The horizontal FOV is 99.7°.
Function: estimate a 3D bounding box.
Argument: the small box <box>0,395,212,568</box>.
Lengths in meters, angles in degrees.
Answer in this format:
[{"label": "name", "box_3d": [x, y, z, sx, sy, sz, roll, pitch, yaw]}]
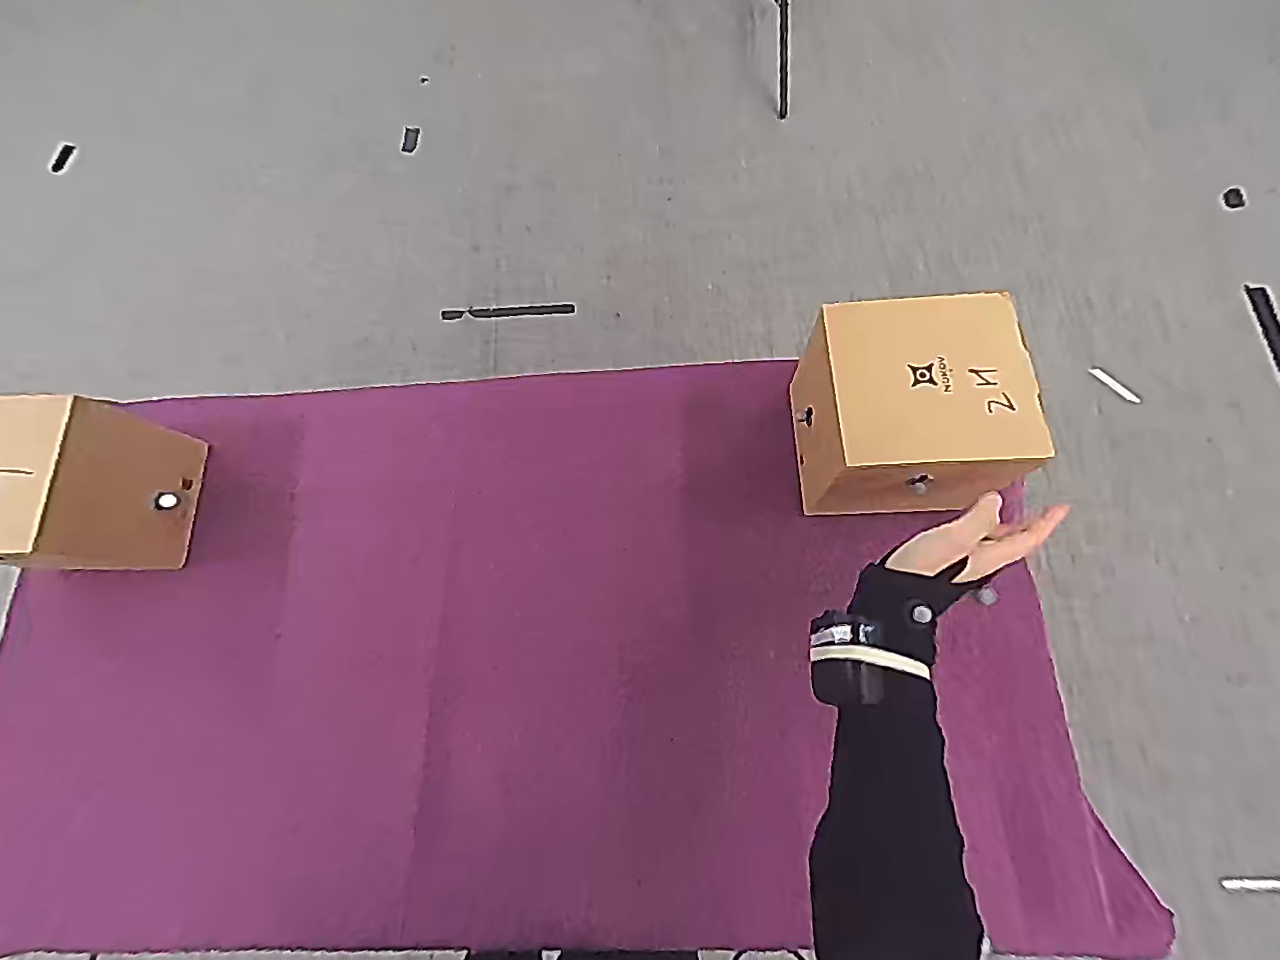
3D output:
[{"label": "small box", "box_3d": [-0.653, 0.012, 0.619, 0.179, 0.176, 0.168, -1, 76, 3]}]

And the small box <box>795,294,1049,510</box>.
[{"label": "small box", "box_3d": [0.264, -0.068, 0.560, 0.179, 0.176, 0.168, -2, 73, 3]}]
